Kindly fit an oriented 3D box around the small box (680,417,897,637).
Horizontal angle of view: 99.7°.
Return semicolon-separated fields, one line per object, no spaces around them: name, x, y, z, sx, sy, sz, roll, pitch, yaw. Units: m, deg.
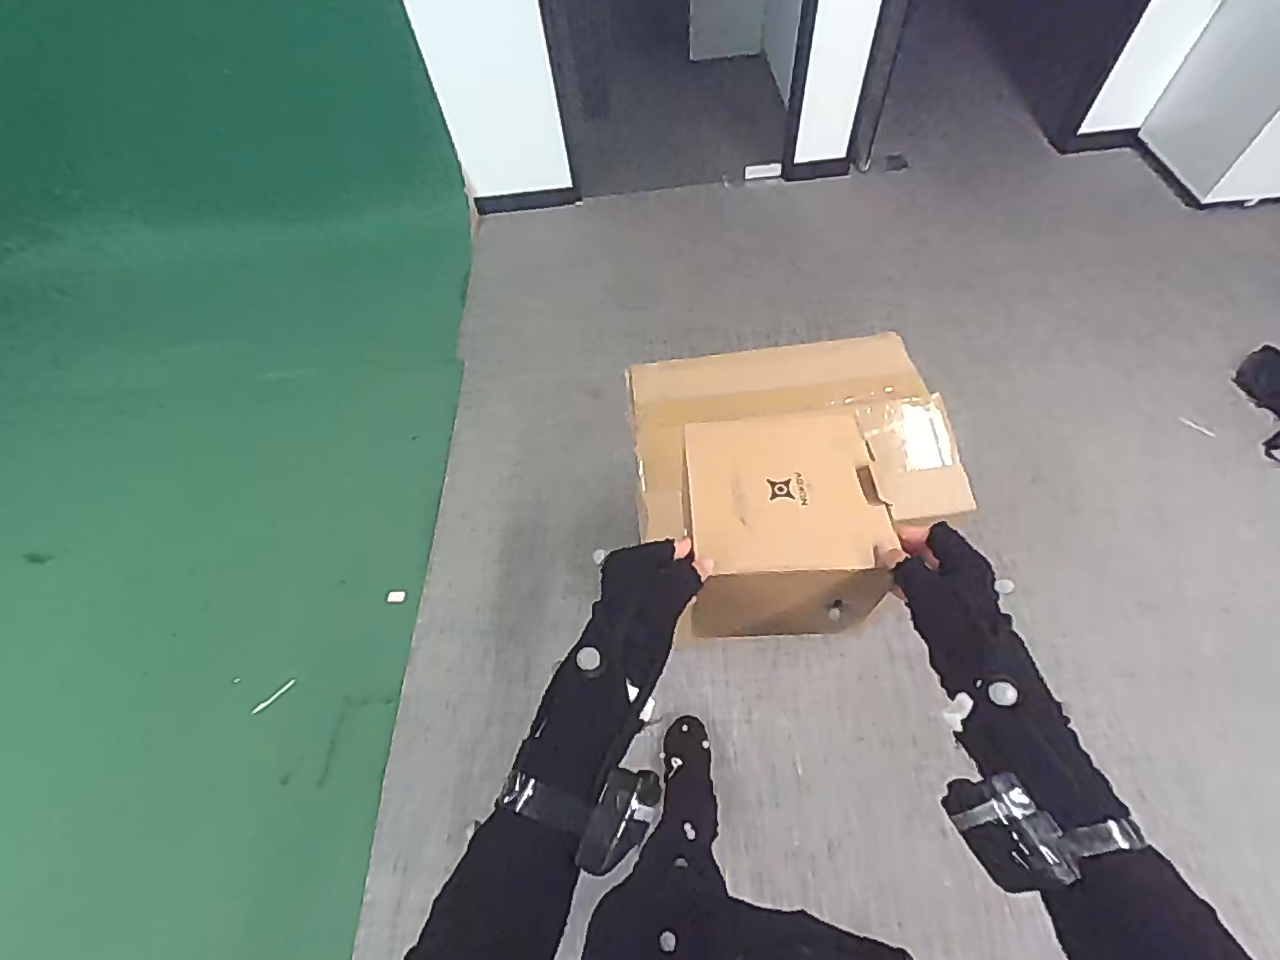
small box;0.134;0.055;0.566;0.179;0.176;0.168;-5;54;3
